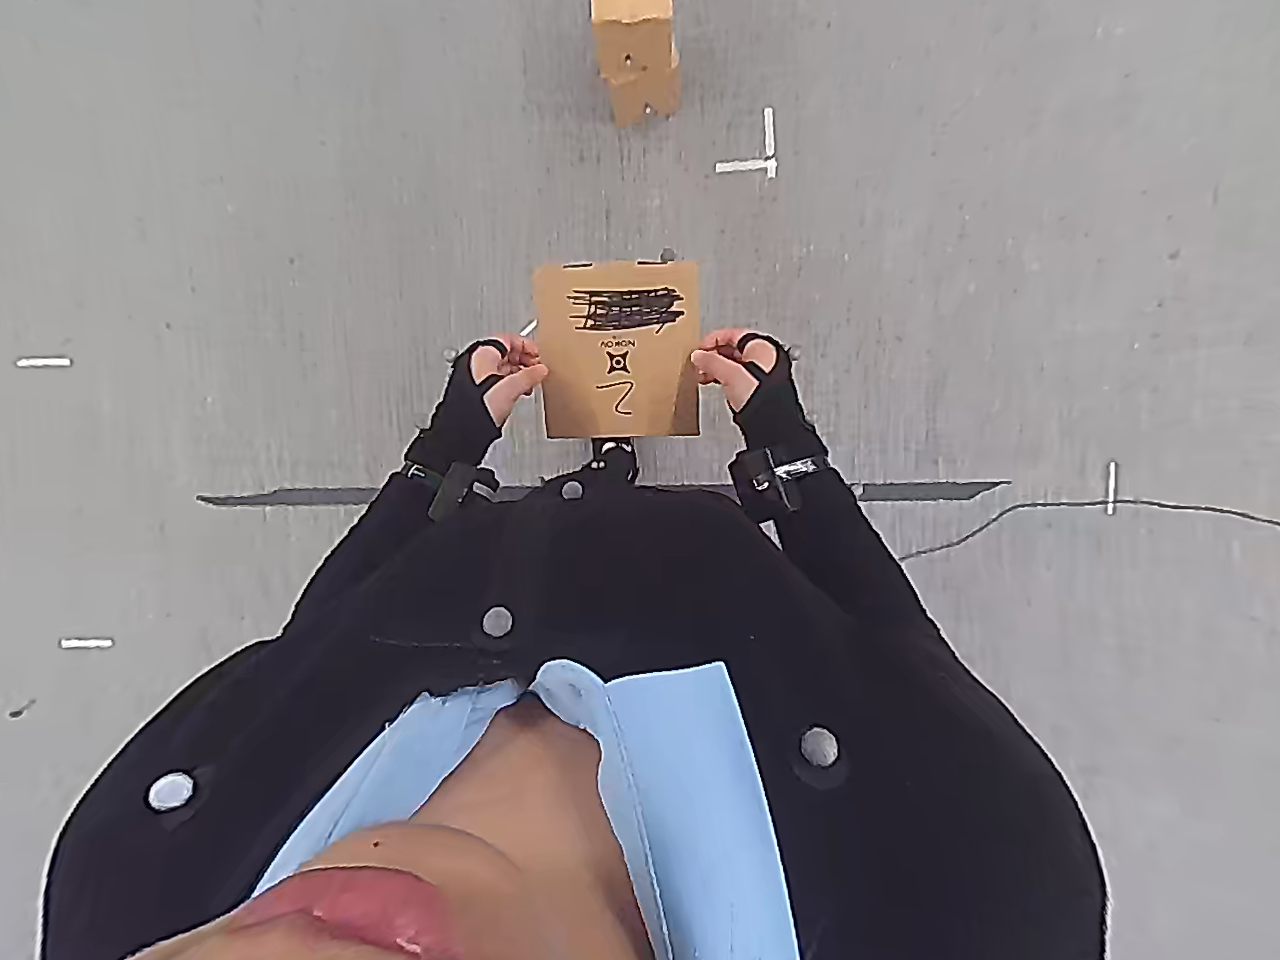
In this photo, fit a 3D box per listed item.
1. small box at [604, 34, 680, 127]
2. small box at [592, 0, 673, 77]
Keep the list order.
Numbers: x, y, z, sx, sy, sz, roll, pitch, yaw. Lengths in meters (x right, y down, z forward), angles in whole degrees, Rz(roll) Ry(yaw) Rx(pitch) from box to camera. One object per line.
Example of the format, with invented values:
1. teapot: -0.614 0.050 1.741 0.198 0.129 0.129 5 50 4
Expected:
1. small box: -0.004 -1.015 1.322 0.168 0.176 0.179 -13 94 3
2. small box: -0.015 -1.011 1.160 0.168 0.176 0.179 -1 94 1
